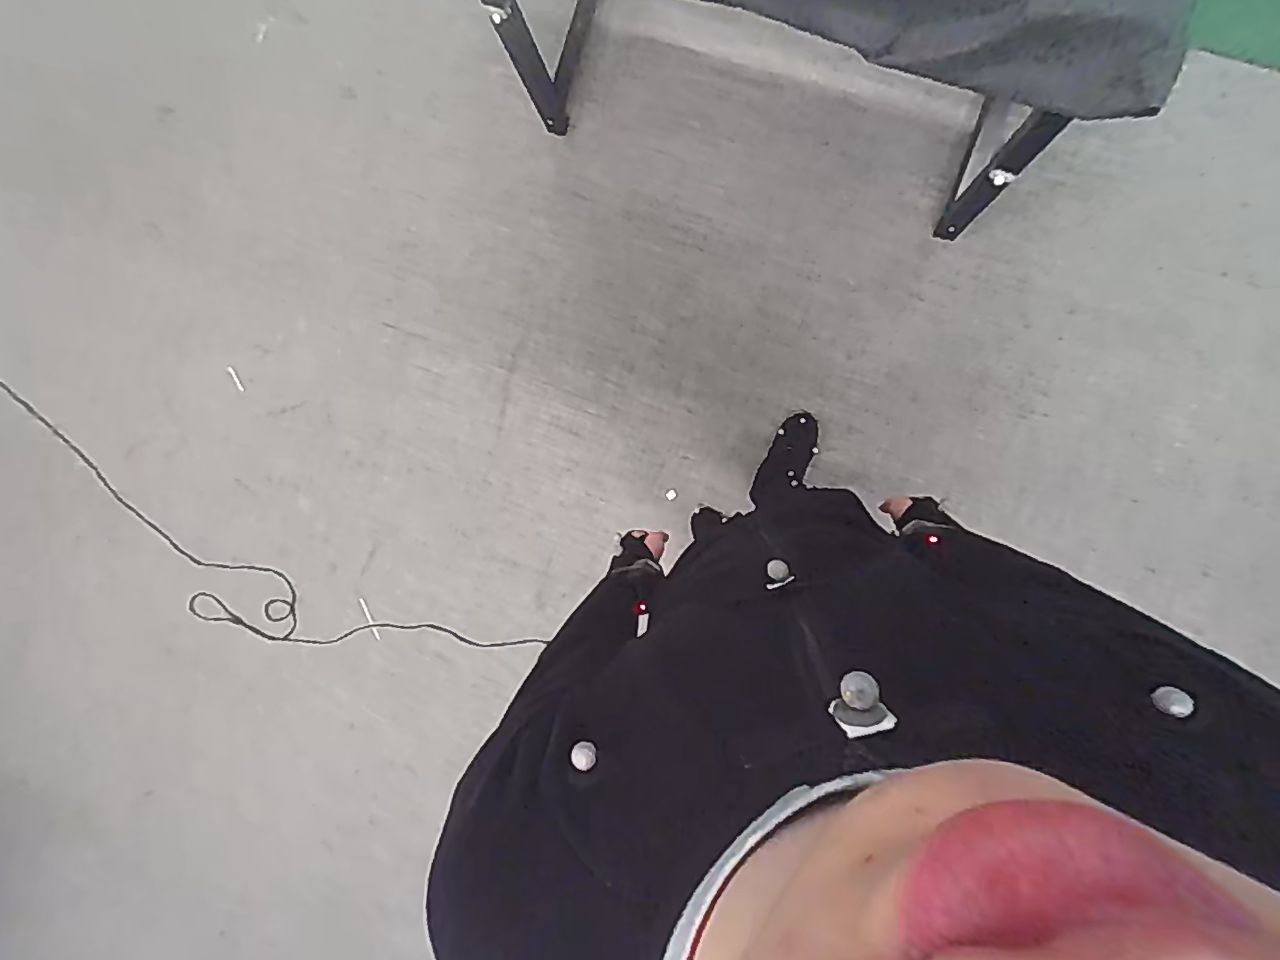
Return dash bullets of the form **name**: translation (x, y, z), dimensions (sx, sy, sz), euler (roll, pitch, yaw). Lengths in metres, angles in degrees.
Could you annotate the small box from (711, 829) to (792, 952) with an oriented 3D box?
- **small box**: translation (0.298, 1.107, 1.472), dimensions (0.168, 0.176, 0.179), euler (18, 92, 6)
